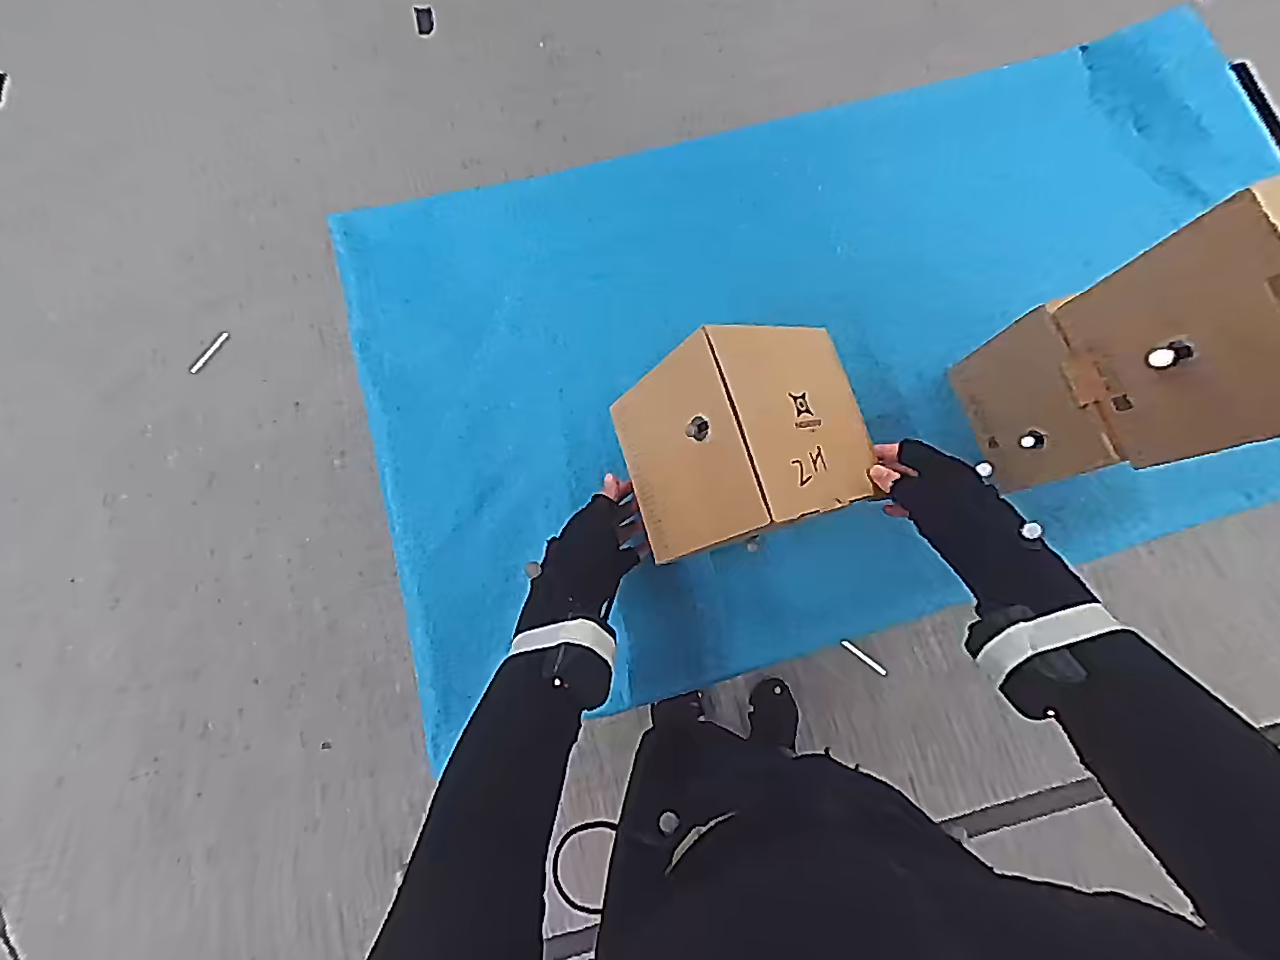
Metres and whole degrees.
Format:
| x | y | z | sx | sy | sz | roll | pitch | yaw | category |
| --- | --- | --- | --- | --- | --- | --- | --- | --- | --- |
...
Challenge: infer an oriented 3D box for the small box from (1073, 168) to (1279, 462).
| x | y | z | sx | sy | sz | roll | pitch | yaw | category |
| --- | --- | --- | --- | --- | --- | --- | --- | --- | --- |
| 0.492 | -0.129 | 0.419 | 0.179 | 0.176 | 0.168 | -20 | 79 | -4 | small box |

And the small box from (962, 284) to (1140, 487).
| x | y | z | sx | sy | sz | roll | pitch | yaw | category |
| --- | --- | --- | --- | --- | --- | --- | --- | --- | --- |
| 0.484 | -0.102 | 0.579 | 0.179 | 0.176 | 0.168 | -17 | 79 | -3 | small box |

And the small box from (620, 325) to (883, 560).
| x | y | z | sx | sy | sz | roll | pitch | yaw | category |
| --- | --- | --- | --- | --- | --- | --- | --- | --- | --- |
| 0.098 | -0.030 | 0.537 | 0.168 | 0.176 | 0.179 | -6 | 78 | -32 | small box |
